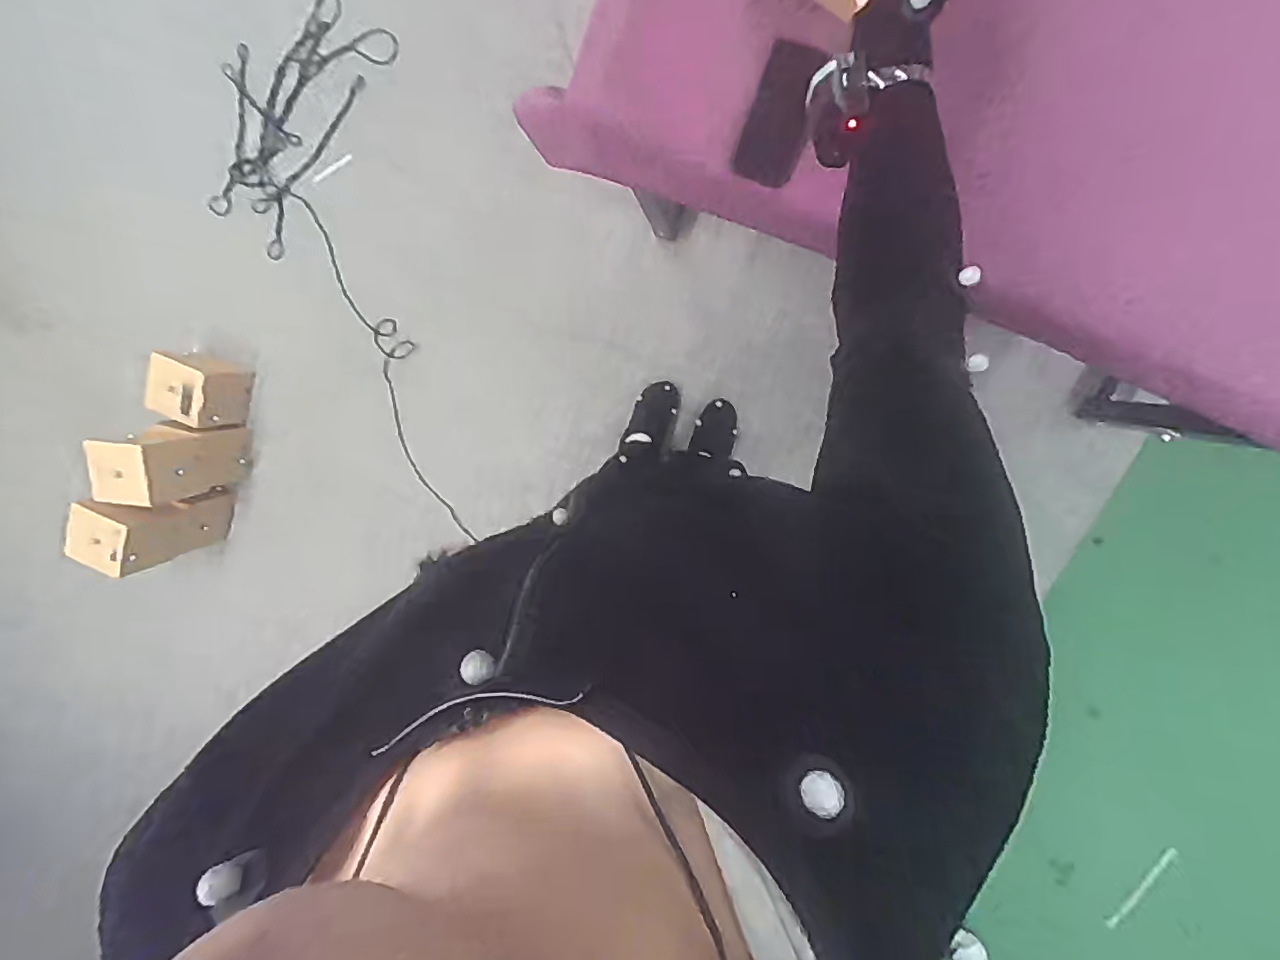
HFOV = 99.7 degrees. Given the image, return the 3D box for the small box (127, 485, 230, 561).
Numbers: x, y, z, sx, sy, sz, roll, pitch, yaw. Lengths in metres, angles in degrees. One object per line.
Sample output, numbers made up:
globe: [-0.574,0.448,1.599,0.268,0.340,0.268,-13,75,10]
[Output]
small box: [-1.417,0.117,1.668,0.168,0.176,0.179,23,104,4]

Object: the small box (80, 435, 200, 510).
small box: [-1.334,-0.025,1.460,0.179,0.176,0.168,6,102,8]

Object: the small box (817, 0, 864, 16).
small box: [0.189,-0.567,0.477,0.168,0.176,0.179,26,116,-9]
